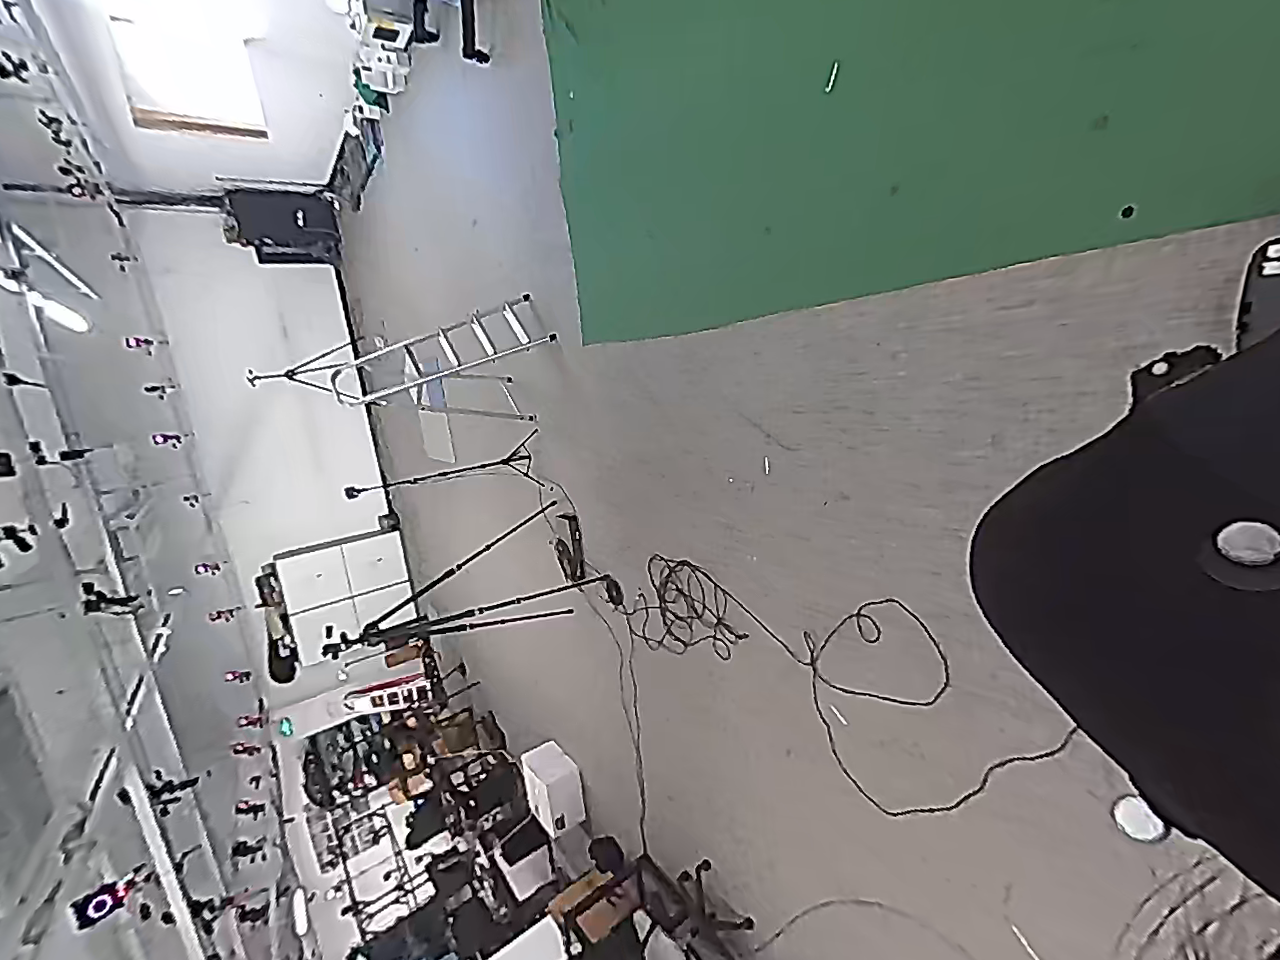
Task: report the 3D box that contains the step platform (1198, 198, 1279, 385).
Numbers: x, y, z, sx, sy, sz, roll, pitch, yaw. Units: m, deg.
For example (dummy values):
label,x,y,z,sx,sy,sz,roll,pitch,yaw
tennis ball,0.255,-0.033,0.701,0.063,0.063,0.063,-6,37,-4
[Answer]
label,x,y,z,sx,sy,sz,roll,pitch,yaw
step platform,1.221,-0.293,0.694,0.684,0.204,0.286,9,110,54
